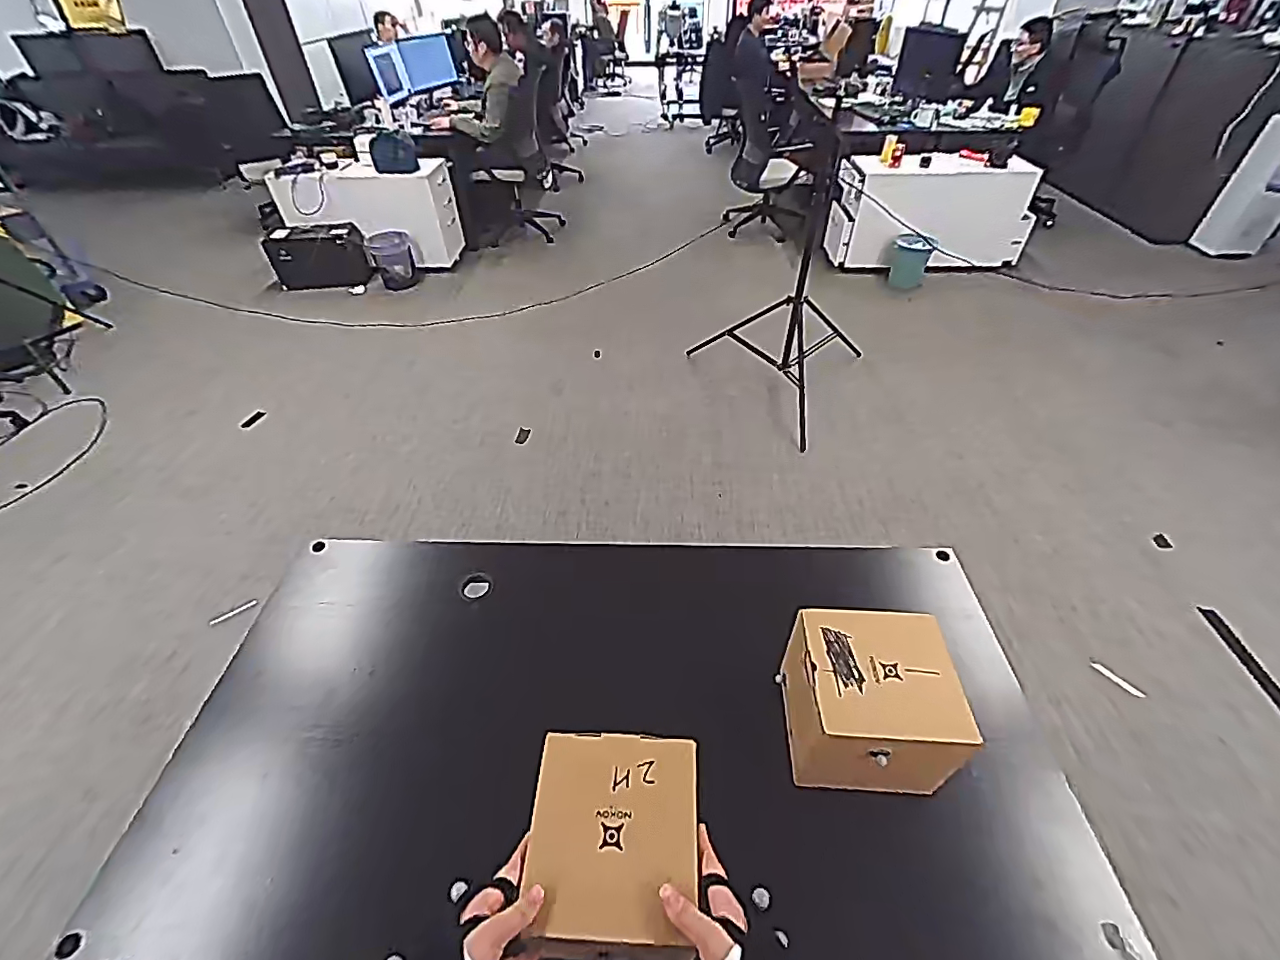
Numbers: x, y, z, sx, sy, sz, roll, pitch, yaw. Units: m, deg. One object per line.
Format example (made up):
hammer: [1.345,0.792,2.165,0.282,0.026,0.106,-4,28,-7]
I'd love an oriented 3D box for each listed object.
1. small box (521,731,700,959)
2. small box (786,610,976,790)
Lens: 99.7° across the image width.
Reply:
small box: [-0.020,0.402,0.595,0.168,0.176,0.179,2,44,3]
small box: [0.296,0.291,0.716,0.179,0.176,0.168,2,43,3]
